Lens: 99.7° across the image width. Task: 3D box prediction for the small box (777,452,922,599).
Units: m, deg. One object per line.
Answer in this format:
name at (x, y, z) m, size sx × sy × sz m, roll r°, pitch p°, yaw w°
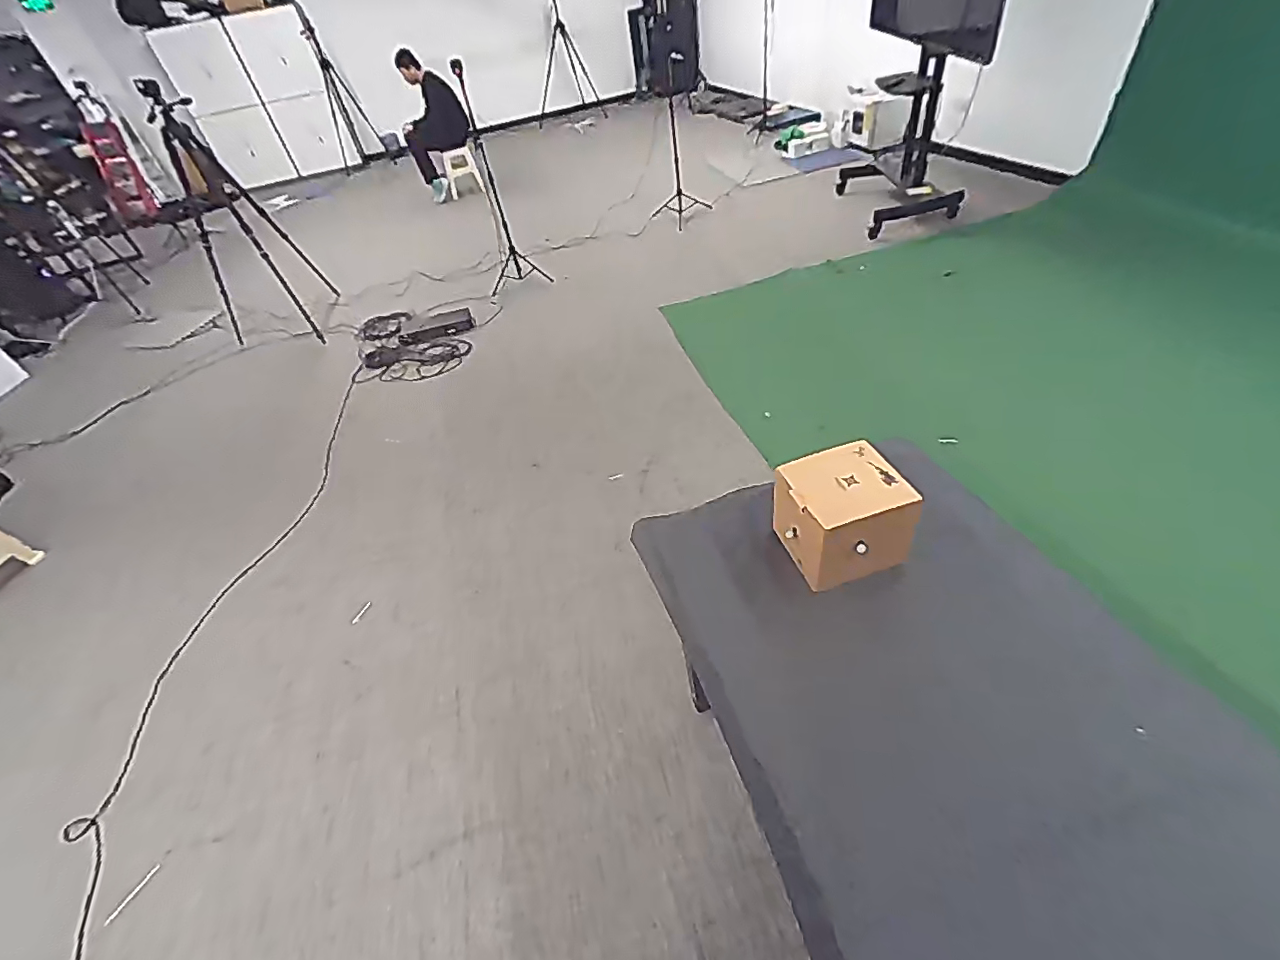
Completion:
small box at (0.359, 0.083, 0.956) m, size 0.179 × 0.176 × 0.168 m, roll -18°, pitch 43°, yaw -6°
